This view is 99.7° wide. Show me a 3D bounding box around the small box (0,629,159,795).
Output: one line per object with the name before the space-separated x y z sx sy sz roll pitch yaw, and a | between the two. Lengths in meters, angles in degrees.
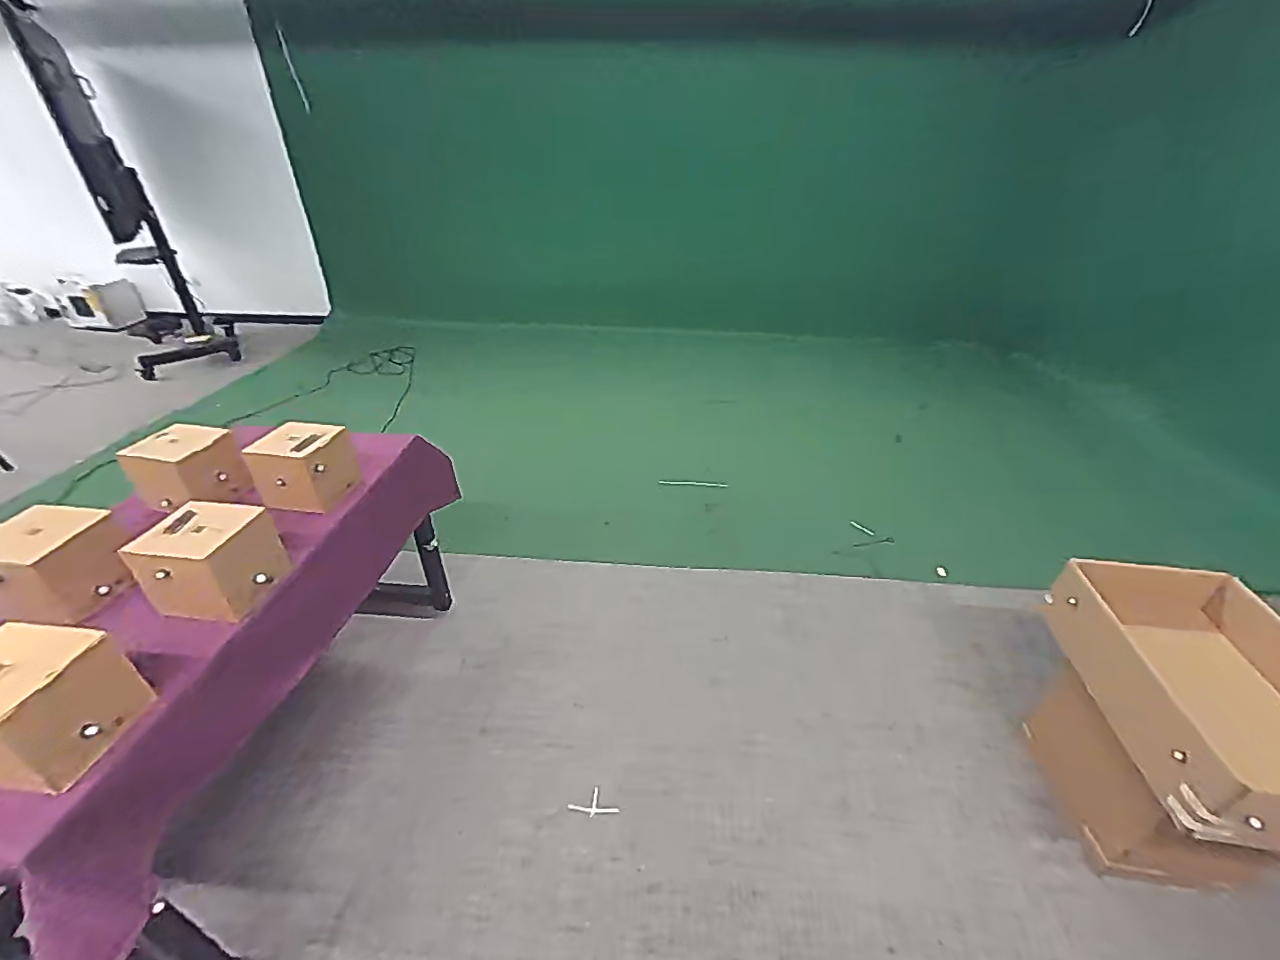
small box | -0.915 0.353 0.829 0.179 0.176 0.168 3 32 5

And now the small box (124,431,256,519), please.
small box | -1.147 -0.007 1.396 0.179 0.176 0.168 7 33 10

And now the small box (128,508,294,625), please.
small box | -0.860 0.176 1.105 0.179 0.176 0.168 4 33 6
